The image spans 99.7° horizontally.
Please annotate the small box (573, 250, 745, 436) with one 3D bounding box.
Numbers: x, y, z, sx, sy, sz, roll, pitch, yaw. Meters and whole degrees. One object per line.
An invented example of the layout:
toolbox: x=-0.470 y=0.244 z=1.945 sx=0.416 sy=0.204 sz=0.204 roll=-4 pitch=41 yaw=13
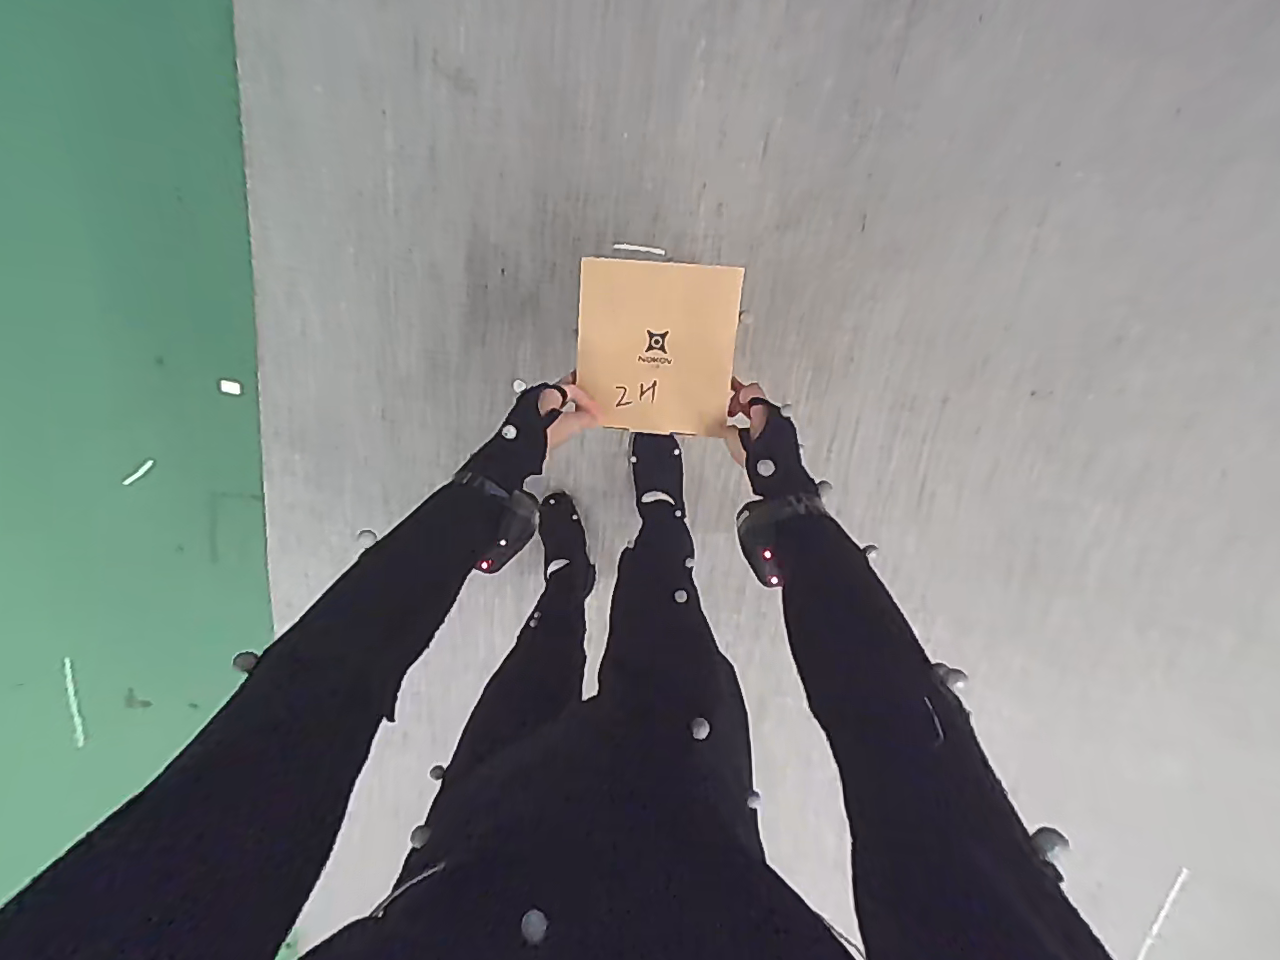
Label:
small box: x=0.024 y=-0.158 z=0.635 sx=0.168 sy=0.176 sz=0.179 roll=6 pitch=106 yaw=5
